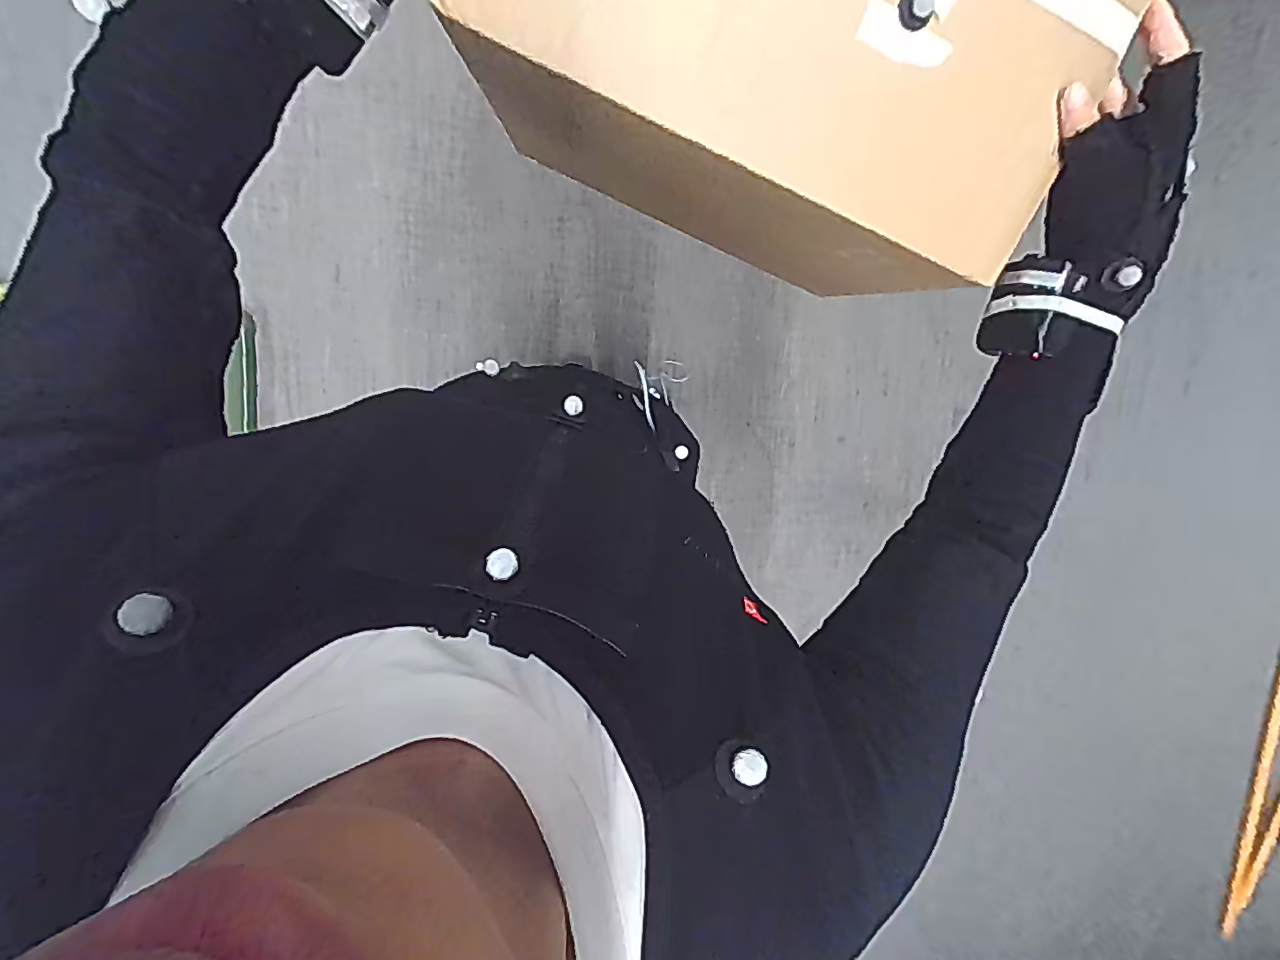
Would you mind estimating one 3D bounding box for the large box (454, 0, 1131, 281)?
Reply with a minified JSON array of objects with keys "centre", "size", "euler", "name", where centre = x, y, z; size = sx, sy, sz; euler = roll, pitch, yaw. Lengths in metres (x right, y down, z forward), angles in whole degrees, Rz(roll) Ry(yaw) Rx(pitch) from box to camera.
[{"centre":[0.110,-0.400,0.458],"size":[0.408,0.320,0.320],"euler":[20,106,-10],"name":"large box"}]
